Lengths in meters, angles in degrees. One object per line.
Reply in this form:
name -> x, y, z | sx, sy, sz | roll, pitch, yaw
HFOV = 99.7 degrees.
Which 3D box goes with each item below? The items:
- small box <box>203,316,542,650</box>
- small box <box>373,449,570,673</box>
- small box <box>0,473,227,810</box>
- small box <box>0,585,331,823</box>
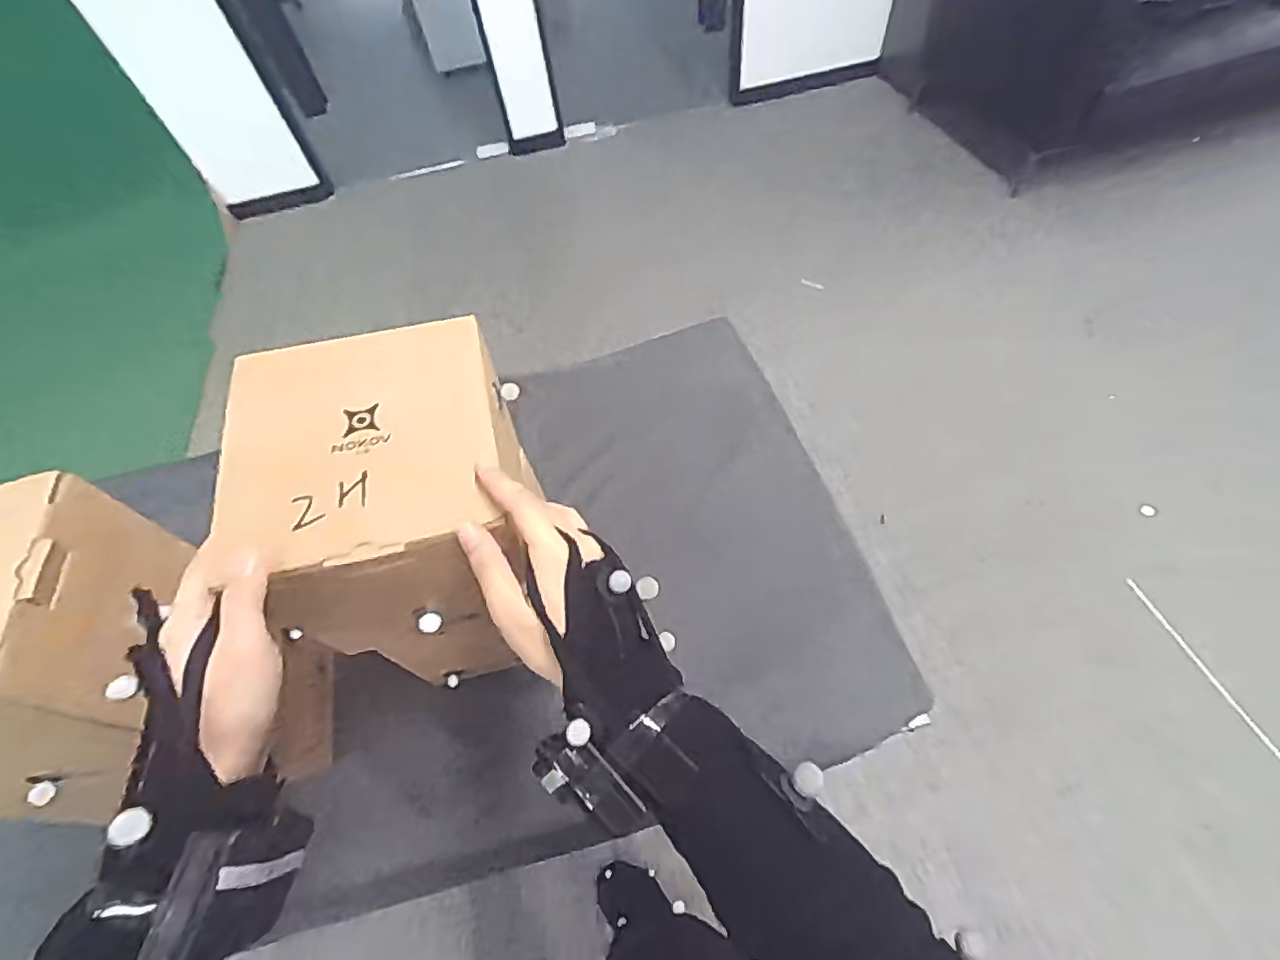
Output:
small box -> -0.178, 0.009, 0.411 | 0.168, 0.176, 0.179 | -13, 62, -7
small box -> -0.179, 0.097, 0.590 | 0.168, 0.176, 0.179 | -13, 55, -3
small box -> -0.455, 0.126, 0.402 | 0.179, 0.176, 0.168 | -18, 55, -7
small box -> -0.436, 0.219, 0.537 | 0.179, 0.176, 0.168 | -18, 55, -6
